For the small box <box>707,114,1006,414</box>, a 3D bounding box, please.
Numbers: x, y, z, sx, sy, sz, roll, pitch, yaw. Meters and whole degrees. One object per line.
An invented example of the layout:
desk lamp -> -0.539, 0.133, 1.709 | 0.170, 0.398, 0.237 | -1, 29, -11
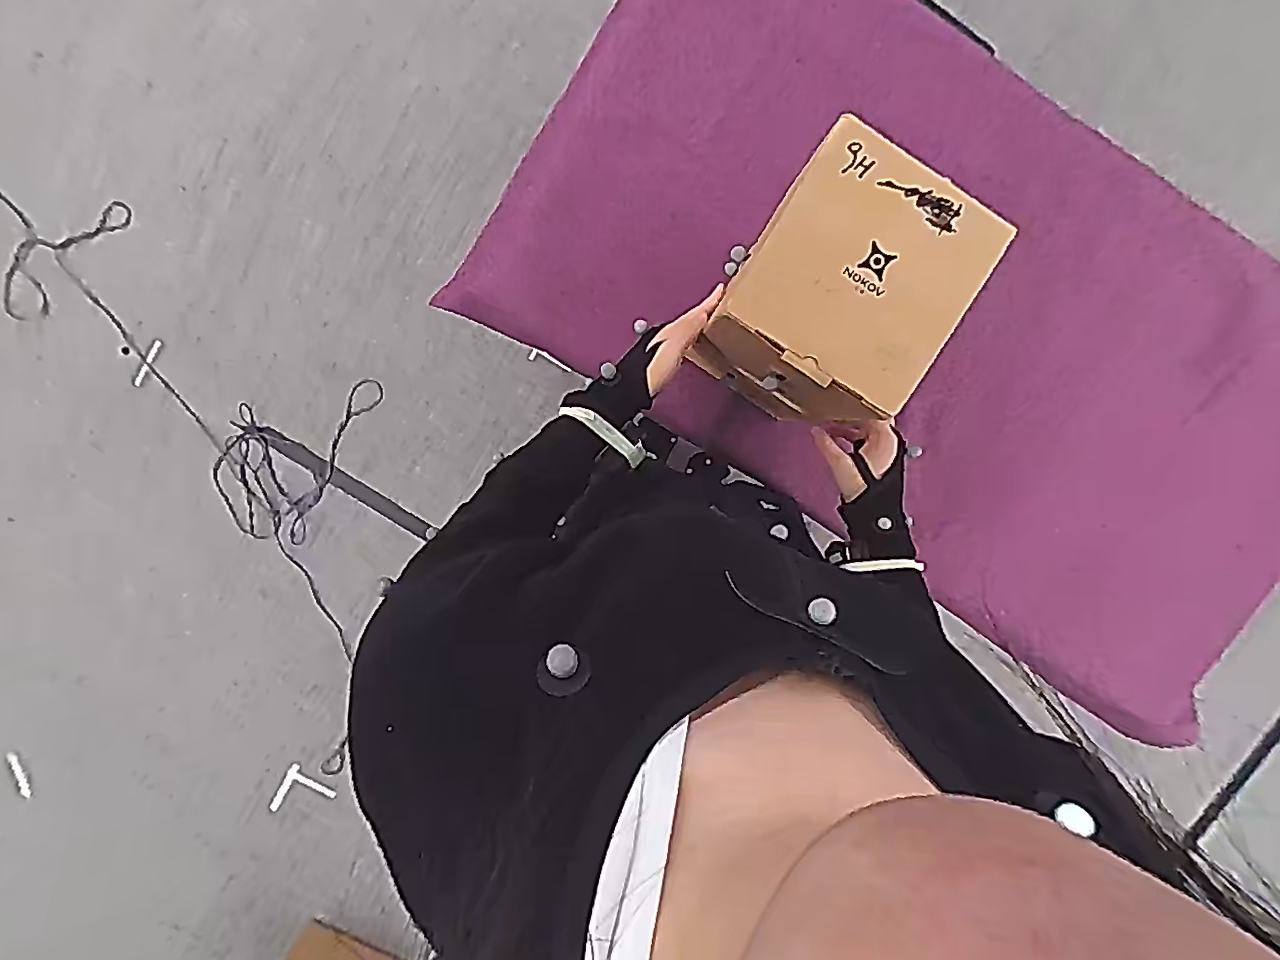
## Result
small box -> 0.176, -0.177, 0.508 | 0.168, 0.176, 0.179 | 32, 96, -5

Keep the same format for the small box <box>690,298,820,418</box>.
small box -> 0.175, -0.193, 0.672 | 0.168, 0.176, 0.179 | 33, 95, -5
